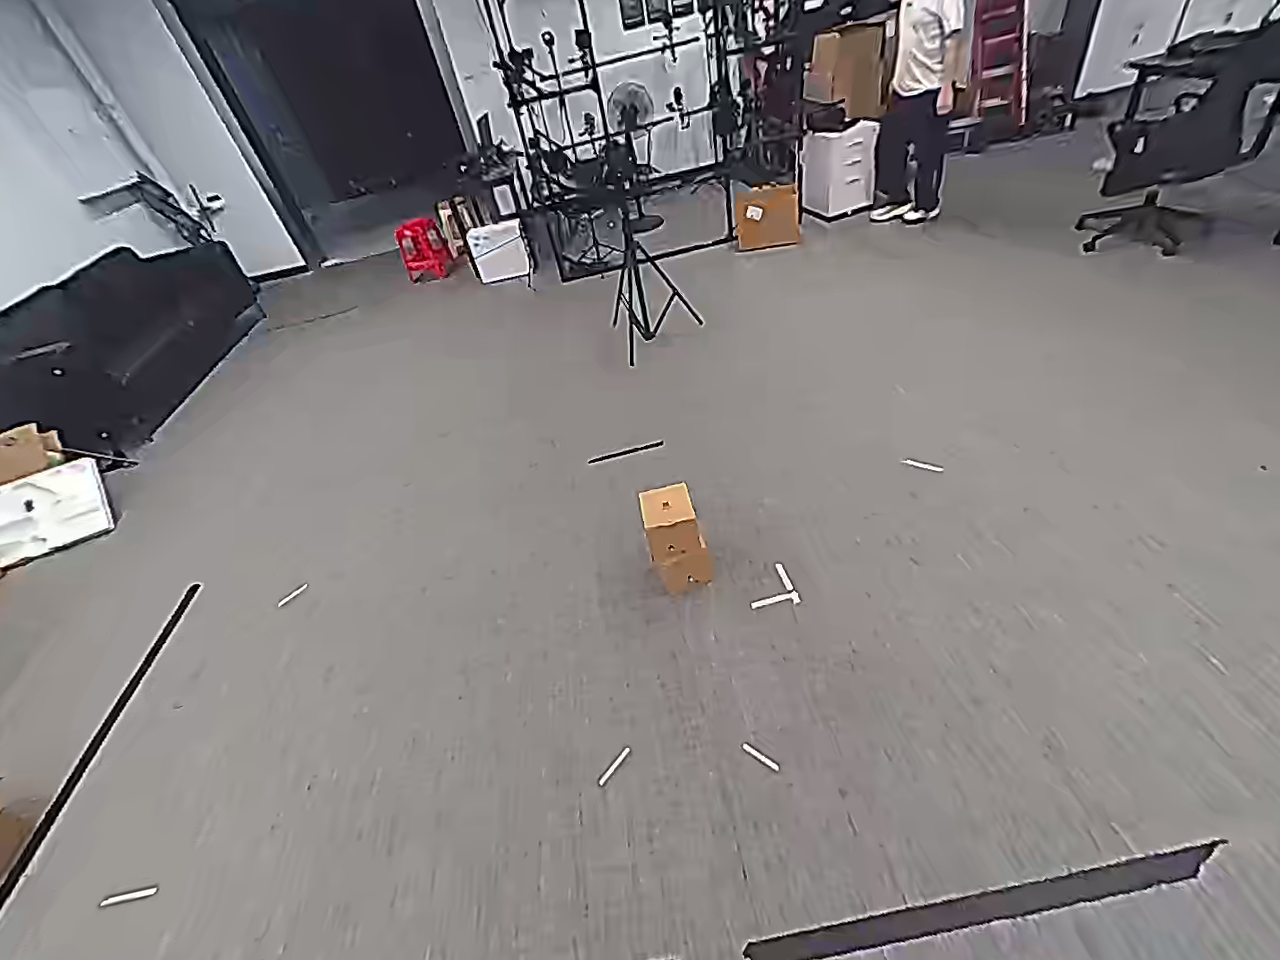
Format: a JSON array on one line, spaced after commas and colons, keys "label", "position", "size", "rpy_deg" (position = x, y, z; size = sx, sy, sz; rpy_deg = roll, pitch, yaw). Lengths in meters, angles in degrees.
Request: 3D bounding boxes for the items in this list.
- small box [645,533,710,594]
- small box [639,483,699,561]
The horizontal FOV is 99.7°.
[{"label": "small box", "position": [0.133, 0.265, 1.904], "size": [0.168, 0.176, 0.179], "rpy_deg": [-22, 41, -8]}, {"label": "small box", "position": [0.096, 0.141, 1.804], "size": [0.168, 0.176, 0.179], "rpy_deg": [-13, 40, 1]}]
